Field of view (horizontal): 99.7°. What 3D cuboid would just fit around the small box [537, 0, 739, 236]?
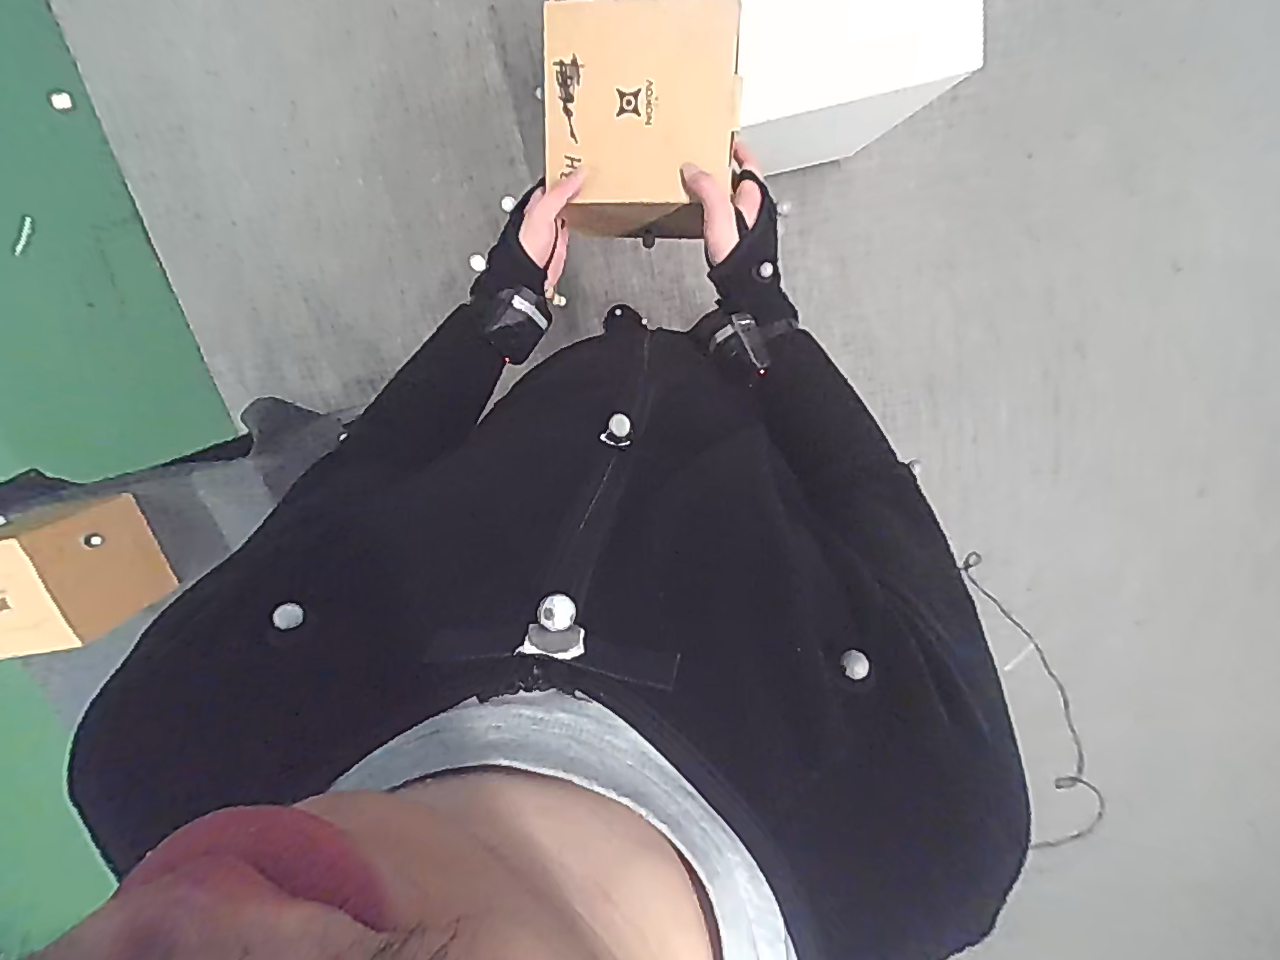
[{"bbox_3d":[0.000,-0.357,0.555,0.179,0.176,0.168,3,103,5],"label":"small box"}]

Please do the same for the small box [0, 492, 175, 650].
[{"bbox_3d":[-0.879,0.128,0.820,0.168,0.176,0.179,-9,111,7],"label":"small box"}]
